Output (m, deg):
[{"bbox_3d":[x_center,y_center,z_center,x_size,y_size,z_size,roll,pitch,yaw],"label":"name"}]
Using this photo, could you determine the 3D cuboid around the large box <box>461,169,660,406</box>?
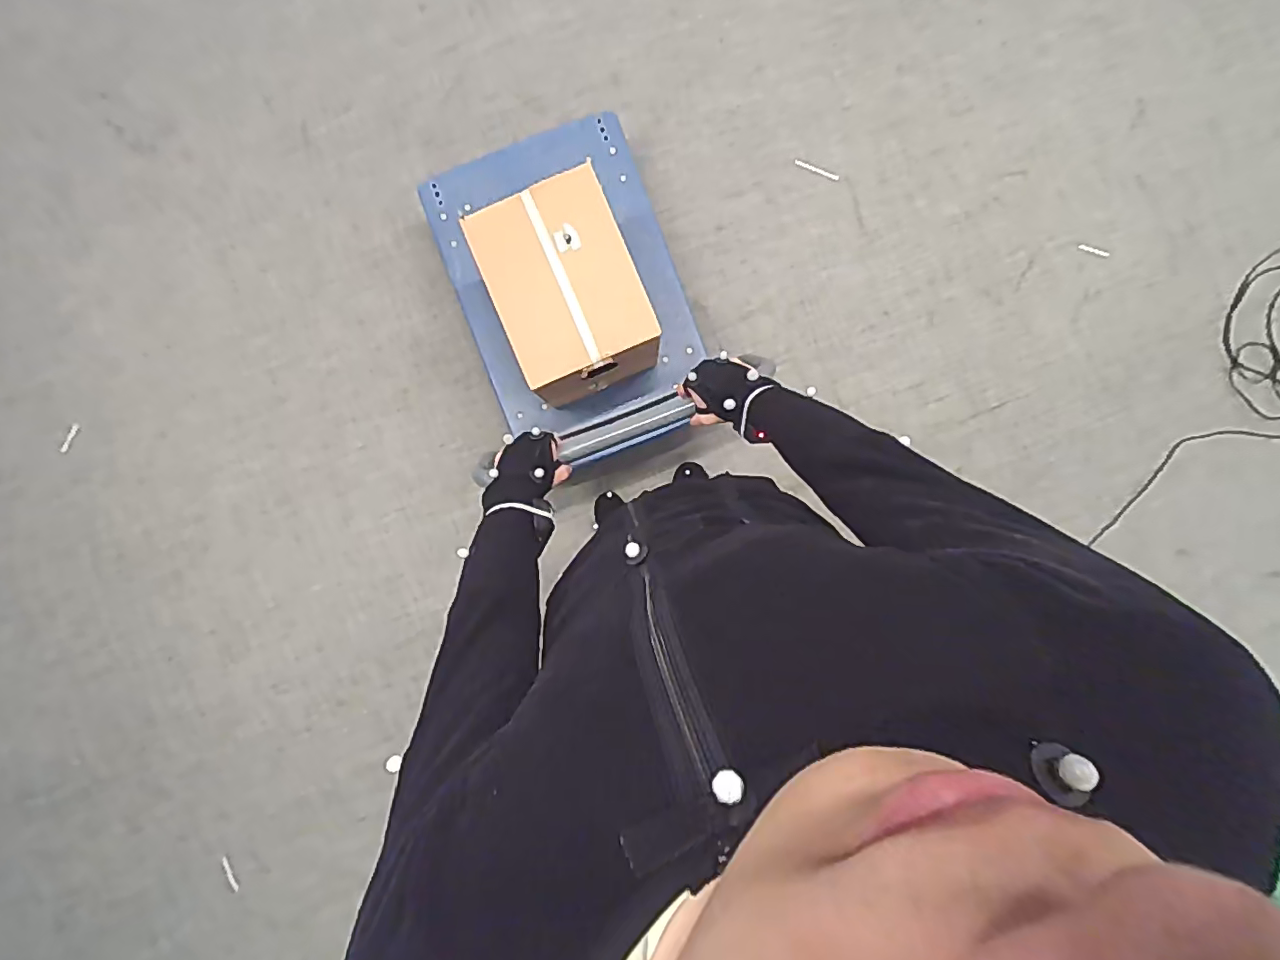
[{"bbox_3d":[-0.168,-0.438,1.324,0.320,0.320,0.408,-23,90,1],"label":"large box"}]
